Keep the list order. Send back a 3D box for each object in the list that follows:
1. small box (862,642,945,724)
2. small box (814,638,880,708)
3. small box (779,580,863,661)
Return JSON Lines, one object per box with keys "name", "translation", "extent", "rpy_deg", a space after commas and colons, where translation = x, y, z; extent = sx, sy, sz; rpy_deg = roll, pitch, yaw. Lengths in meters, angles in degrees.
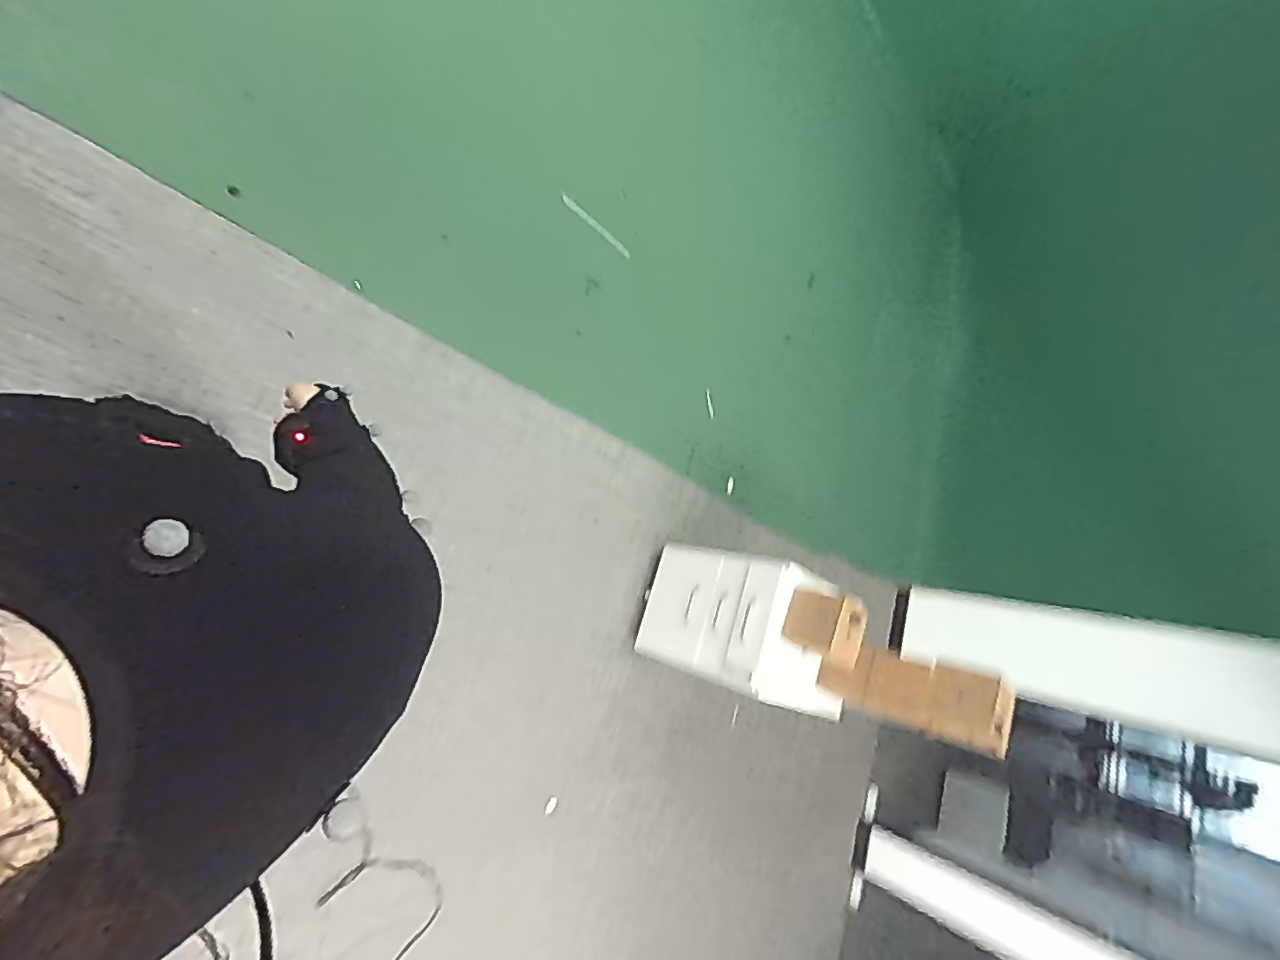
{"name": "small box", "translation": [0.803, 0.613, 1.651], "extent": [0.168, 0.176, 0.179], "rpy_deg": [36, 68, -35]}
{"name": "small box", "translation": [0.696, 0.617, 1.774], "extent": [0.168, 0.176, 0.179], "rpy_deg": [37, 67, -35]}
{"name": "small box", "translation": [0.546, 0.420, 1.637], "extent": [0.168, 0.176, 0.179], "rpy_deg": [36, 69, -37]}
